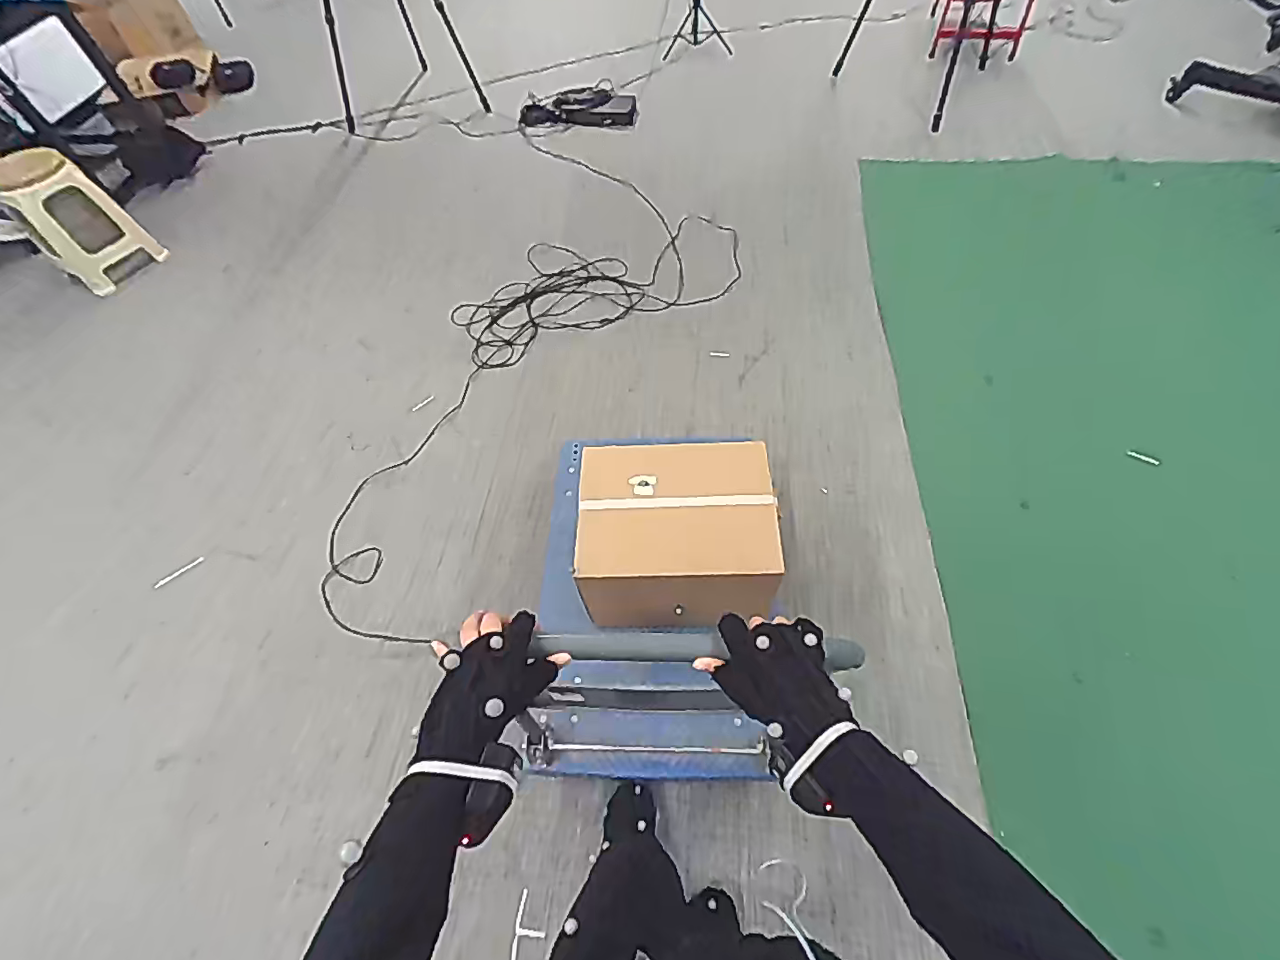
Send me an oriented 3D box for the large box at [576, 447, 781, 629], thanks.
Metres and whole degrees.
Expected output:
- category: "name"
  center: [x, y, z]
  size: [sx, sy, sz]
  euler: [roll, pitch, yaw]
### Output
- category: "large box"
  center: [0.086, 0.146, 1.249]
  size: [0.408, 0.320, 0.320]
  euler: [-2, 56, 5]
